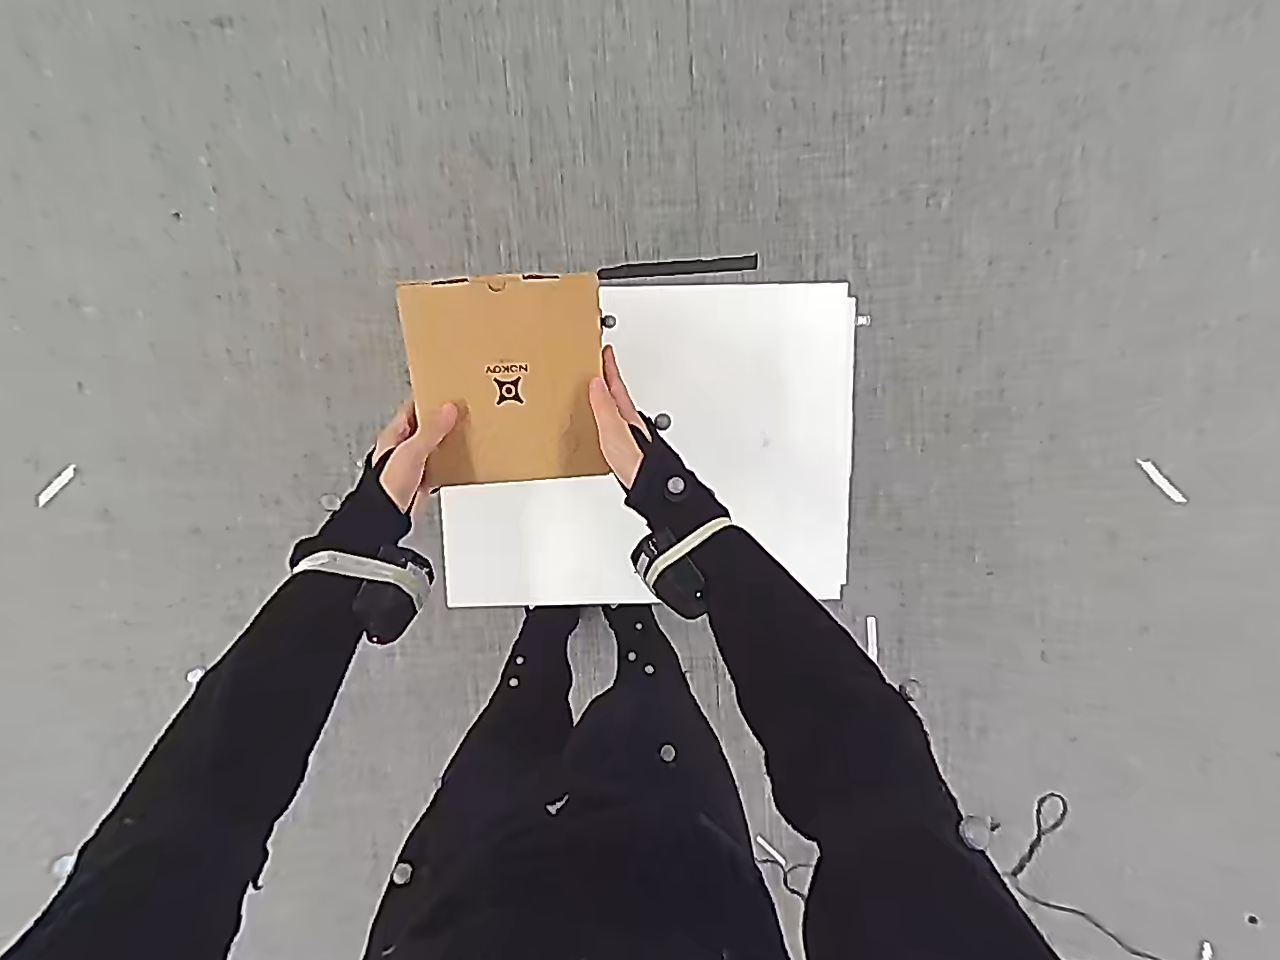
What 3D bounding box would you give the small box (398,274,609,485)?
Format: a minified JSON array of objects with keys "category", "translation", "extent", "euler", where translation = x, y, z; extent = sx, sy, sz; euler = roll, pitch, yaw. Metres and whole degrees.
[{"category":"small box","translation":[-0.117,-0.106,0.542],"extent":[0.168,0.176,0.179],"euler":[-4,106,-4]}]
